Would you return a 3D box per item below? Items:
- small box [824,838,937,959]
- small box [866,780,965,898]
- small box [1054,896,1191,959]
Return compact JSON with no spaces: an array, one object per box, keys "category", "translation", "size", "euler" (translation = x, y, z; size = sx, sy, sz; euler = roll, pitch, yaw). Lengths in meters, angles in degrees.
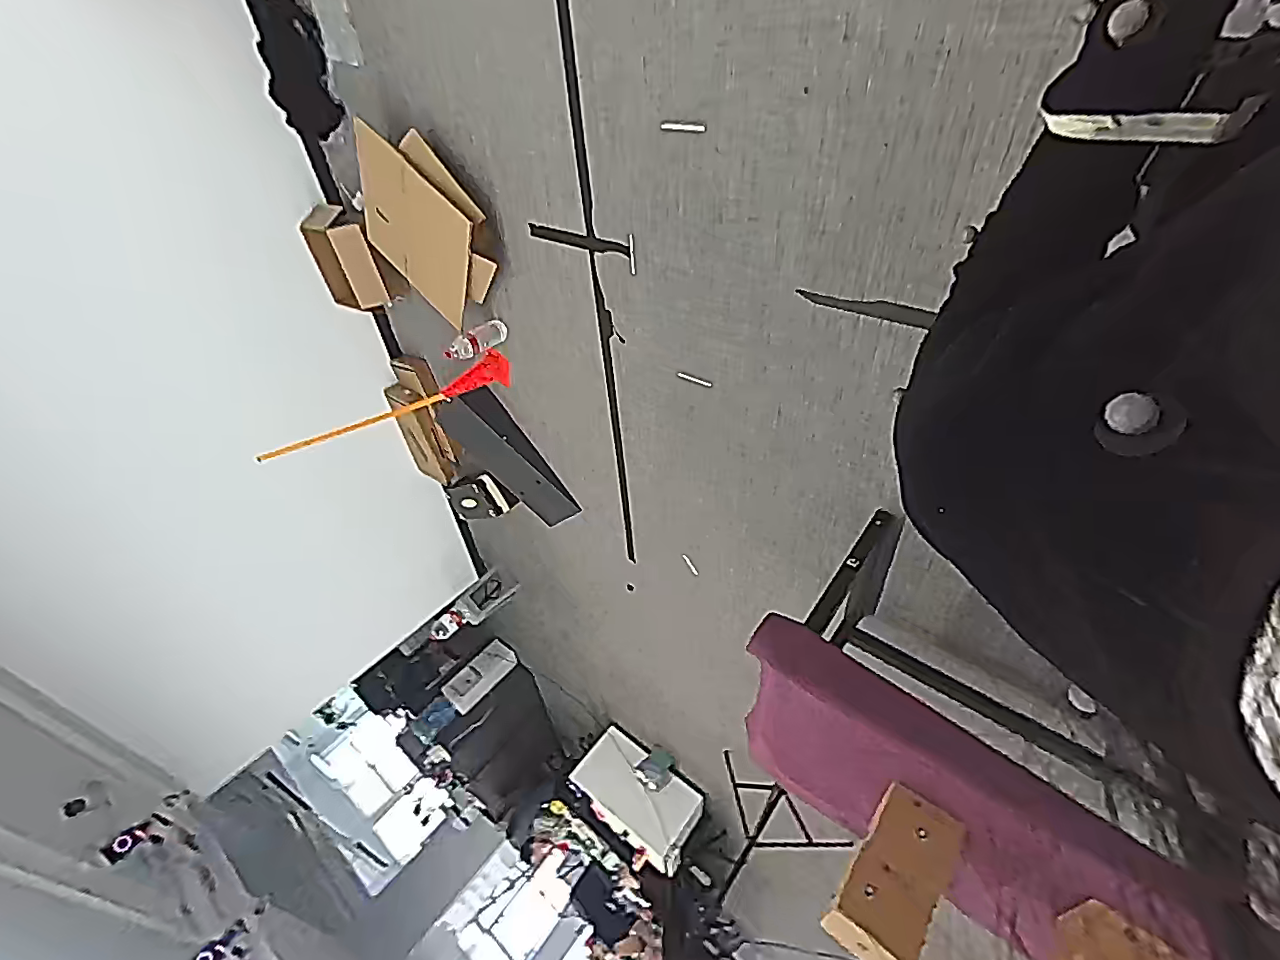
[{"category":"small box","translation":[0.541,0.950,1.213],"size":[0.168,0.176,0.179],"euler":[28,141,30]},{"category":"small box","translation":[0.651,0.863,1.295],"size":[0.168,0.176,0.179],"euler":[26,140,31]},{"category":"small box","translation":[0.952,0.977,1.073],"size":[0.168,0.176,0.179],"euler":[25,140,31]}]
